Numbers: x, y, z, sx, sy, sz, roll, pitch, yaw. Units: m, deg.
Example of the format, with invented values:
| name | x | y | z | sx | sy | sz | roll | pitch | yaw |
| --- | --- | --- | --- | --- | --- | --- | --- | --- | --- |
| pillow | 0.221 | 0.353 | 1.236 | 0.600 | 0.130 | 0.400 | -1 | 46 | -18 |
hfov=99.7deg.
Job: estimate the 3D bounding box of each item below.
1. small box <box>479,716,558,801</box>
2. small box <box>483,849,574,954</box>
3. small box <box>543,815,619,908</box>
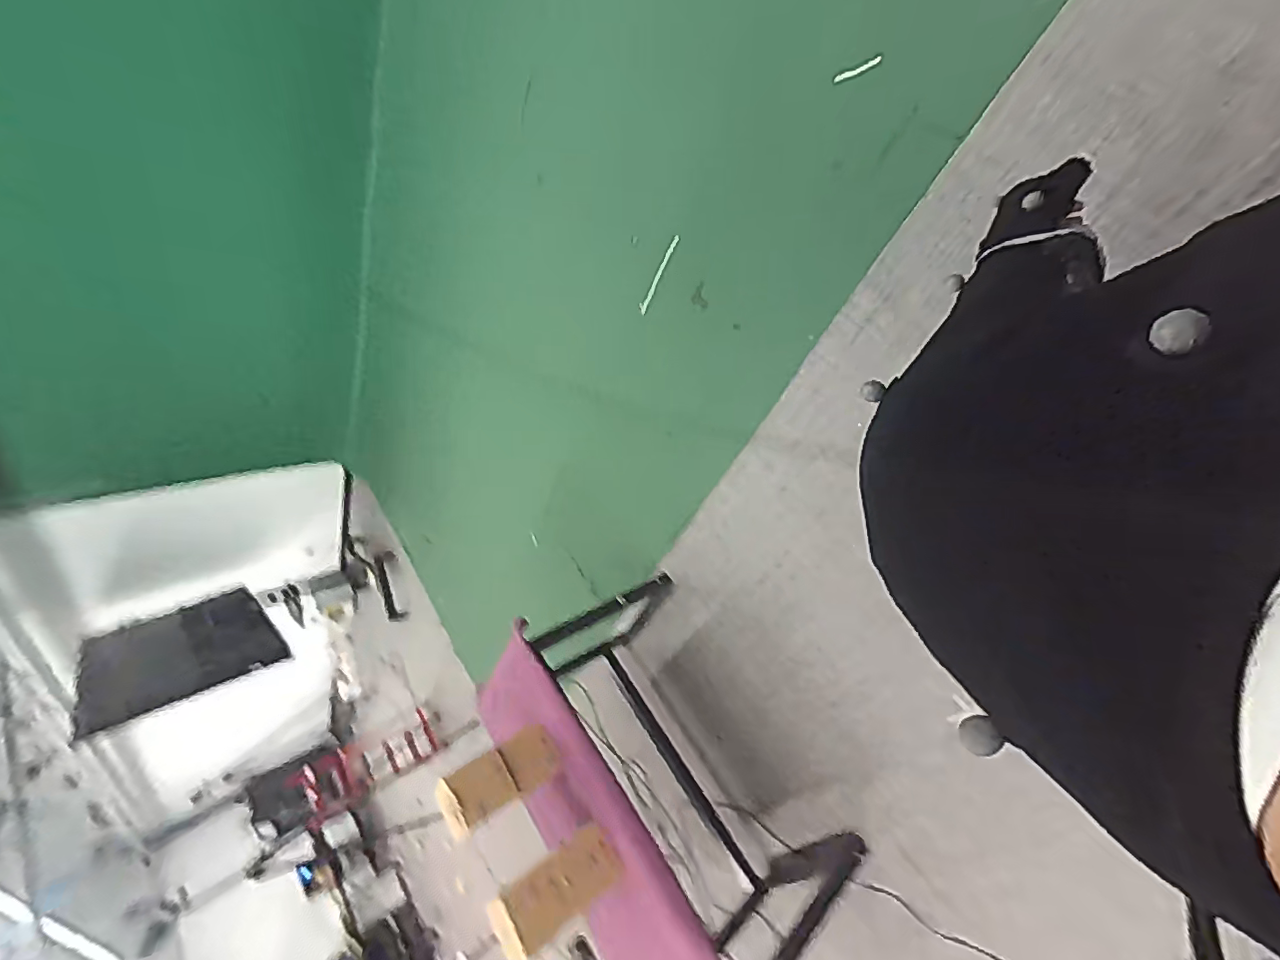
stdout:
| name | x | y | z | sx | sy | sz | roll | pitch | yaw |
| --- | --- | --- | --- | --- | --- | --- | --- | --- | --- |
| small box | -0.389 | 0.894 | 1.746 | 0.168 | 0.176 | 0.179 | 56 | 135 | 20 |
| small box | -0.309 | 1.170 | 1.509 | 0.168 | 0.176 | 0.179 | 54 | 135 | 20 |
| small box | -0.188 | 1.138 | 1.615 | 0.168 | 0.176 | 0.179 | 55 | 134 | 20 |
